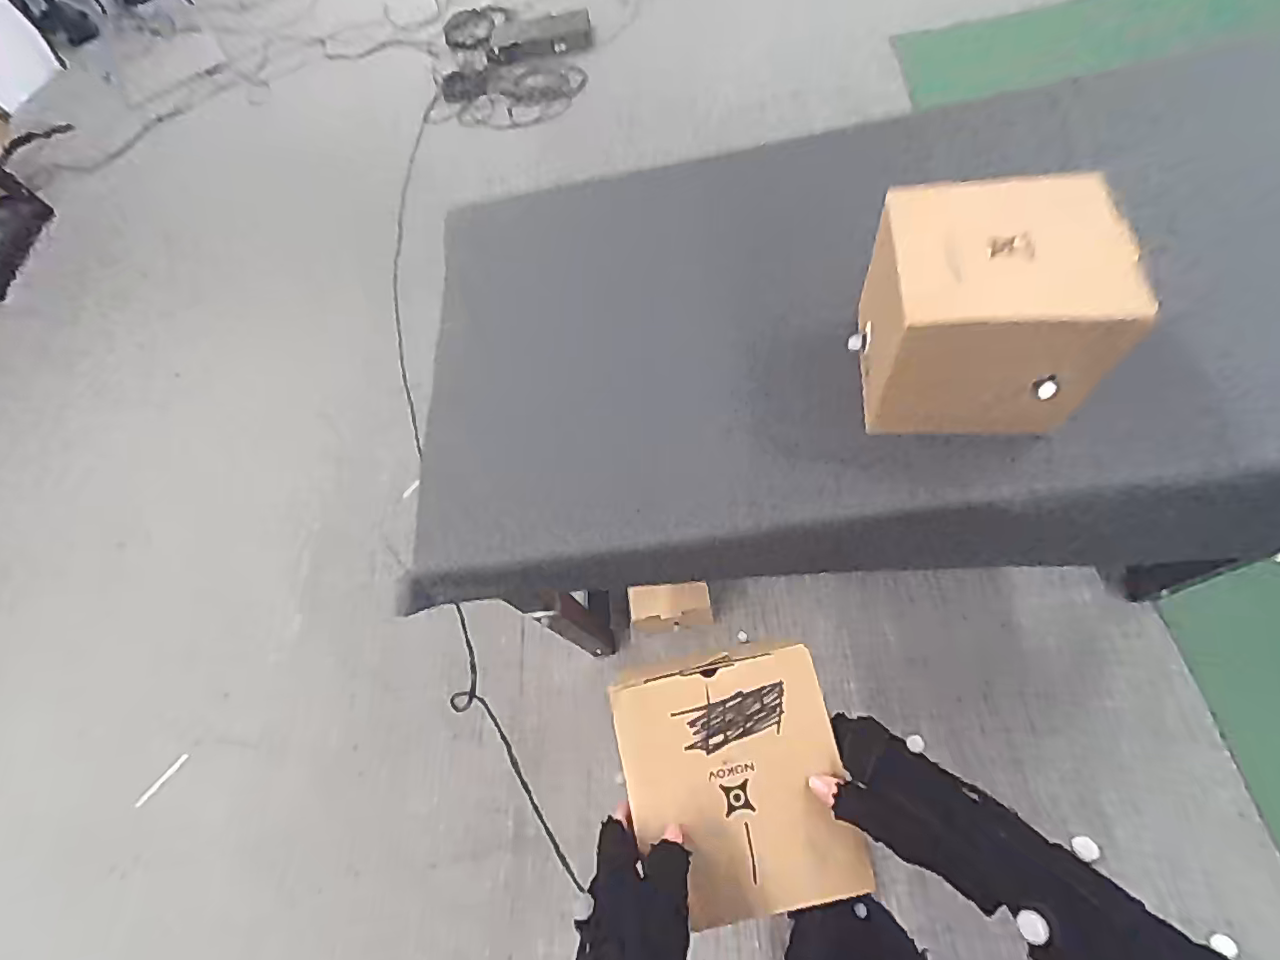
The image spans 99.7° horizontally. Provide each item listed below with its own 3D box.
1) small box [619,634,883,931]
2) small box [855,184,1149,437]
[{"bbox_3d":[0.080,0.241,0.480,0.168,0.176,0.179,-12,75,-1],"label":"small box"},{"bbox_3d":[0.322,-0.153,0.528,0.179,0.176,0.168,0,62,12],"label":"small box"}]
